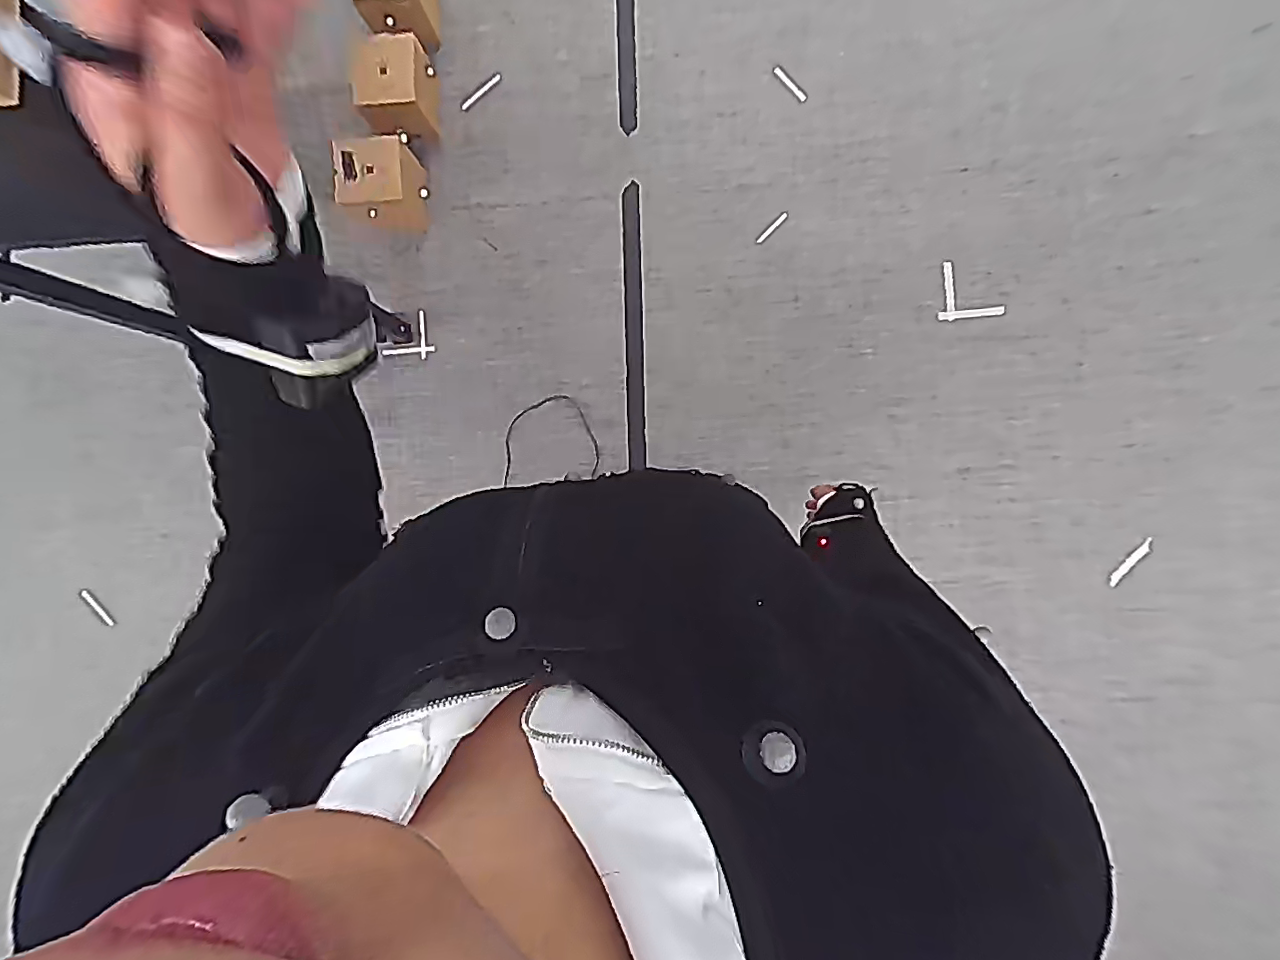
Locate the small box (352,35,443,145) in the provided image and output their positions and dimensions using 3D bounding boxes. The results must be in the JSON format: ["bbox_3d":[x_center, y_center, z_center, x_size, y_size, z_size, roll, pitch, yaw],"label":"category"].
[{"bbox_3d":[-0.645,-1.039,1.454,0.168,0.176,0.179,-3,90,4],"label":"small box"}]

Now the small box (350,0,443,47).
[{"bbox_3d":[-0.651,-1.302,1.451,0.179,0.176,0.168,-3,91,3],"label":"small box"}]

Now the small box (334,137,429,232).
[{"bbox_3d":[-0.690,-0.785,1.455,0.179,0.176,0.168,-3,90,2],"label":"small box"}]

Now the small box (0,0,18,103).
[{"bbox_3d":[-1.026,-0.651,0.742,0.179,0.176,0.168,1,90,3],"label":"small box"}]
